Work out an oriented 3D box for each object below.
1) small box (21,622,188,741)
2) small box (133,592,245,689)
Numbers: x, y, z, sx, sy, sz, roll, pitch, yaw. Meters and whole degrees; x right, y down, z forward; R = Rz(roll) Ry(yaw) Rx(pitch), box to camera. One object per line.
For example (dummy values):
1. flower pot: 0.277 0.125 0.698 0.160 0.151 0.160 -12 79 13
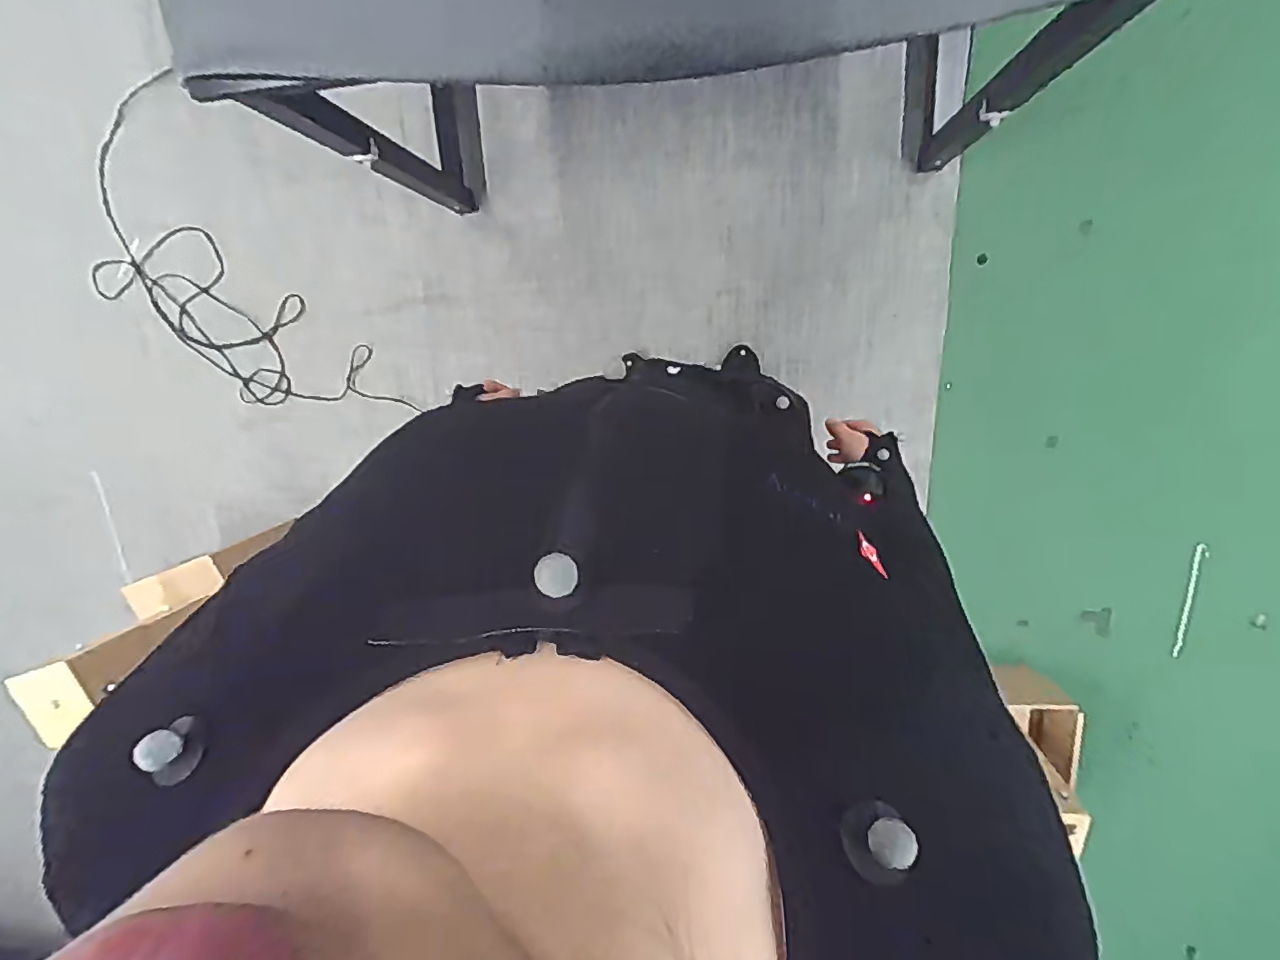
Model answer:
1. small box: -1.187 0.441 1.213 0.168 0.176 0.179 -19 102 10
2. small box: -1.164 0.413 1.372 0.168 0.176 0.179 -19 101 11
